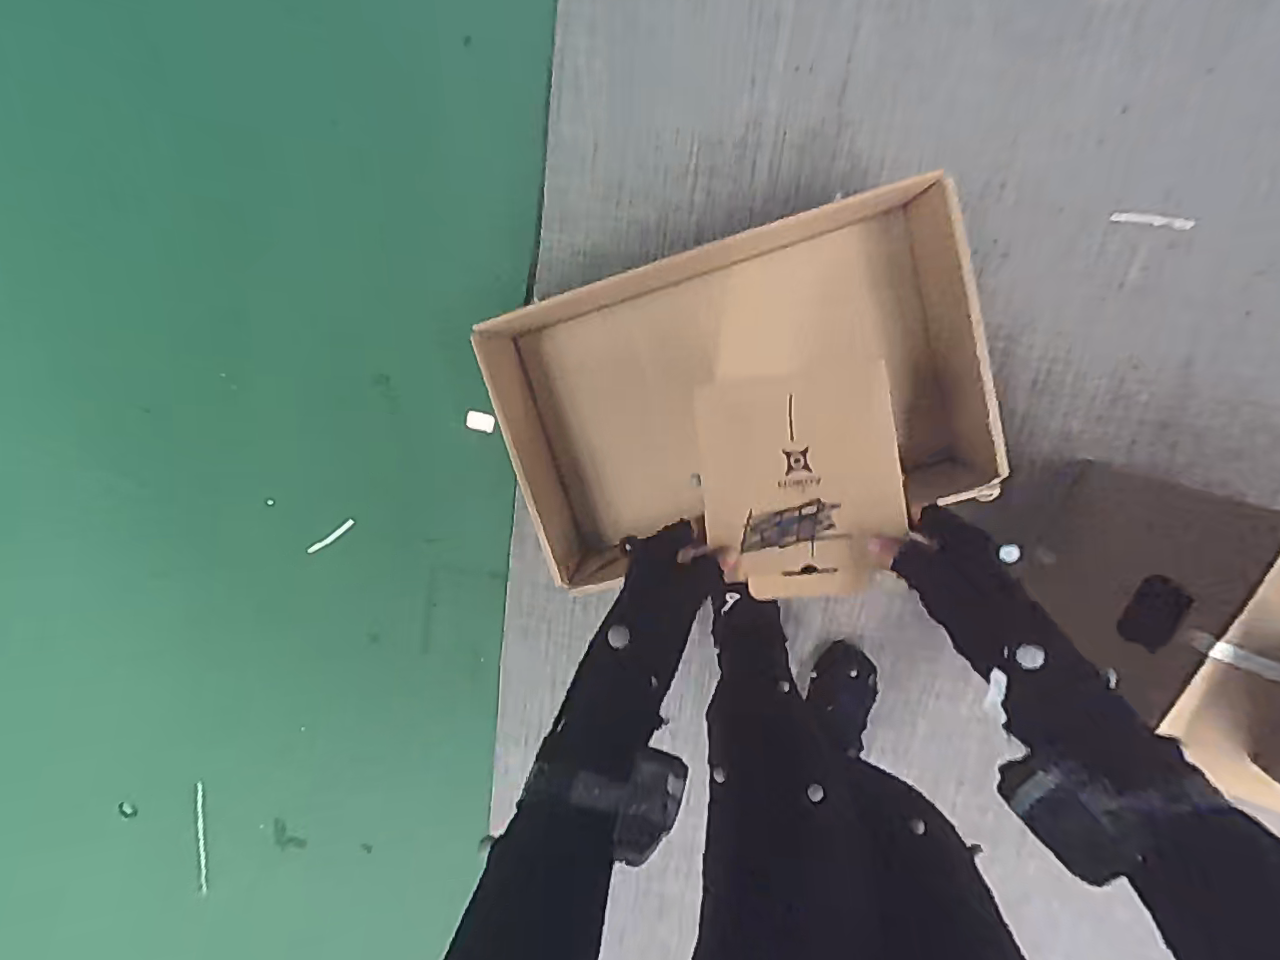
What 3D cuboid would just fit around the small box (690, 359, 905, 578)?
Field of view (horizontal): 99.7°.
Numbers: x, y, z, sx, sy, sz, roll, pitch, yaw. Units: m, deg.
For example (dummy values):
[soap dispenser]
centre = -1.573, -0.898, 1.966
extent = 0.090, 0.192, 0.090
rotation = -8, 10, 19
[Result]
[small box]
centre = 0.147, -0.005, 0.541
extent = 0.168, 0.176, 0.179
rotation = -6, 85, 11
